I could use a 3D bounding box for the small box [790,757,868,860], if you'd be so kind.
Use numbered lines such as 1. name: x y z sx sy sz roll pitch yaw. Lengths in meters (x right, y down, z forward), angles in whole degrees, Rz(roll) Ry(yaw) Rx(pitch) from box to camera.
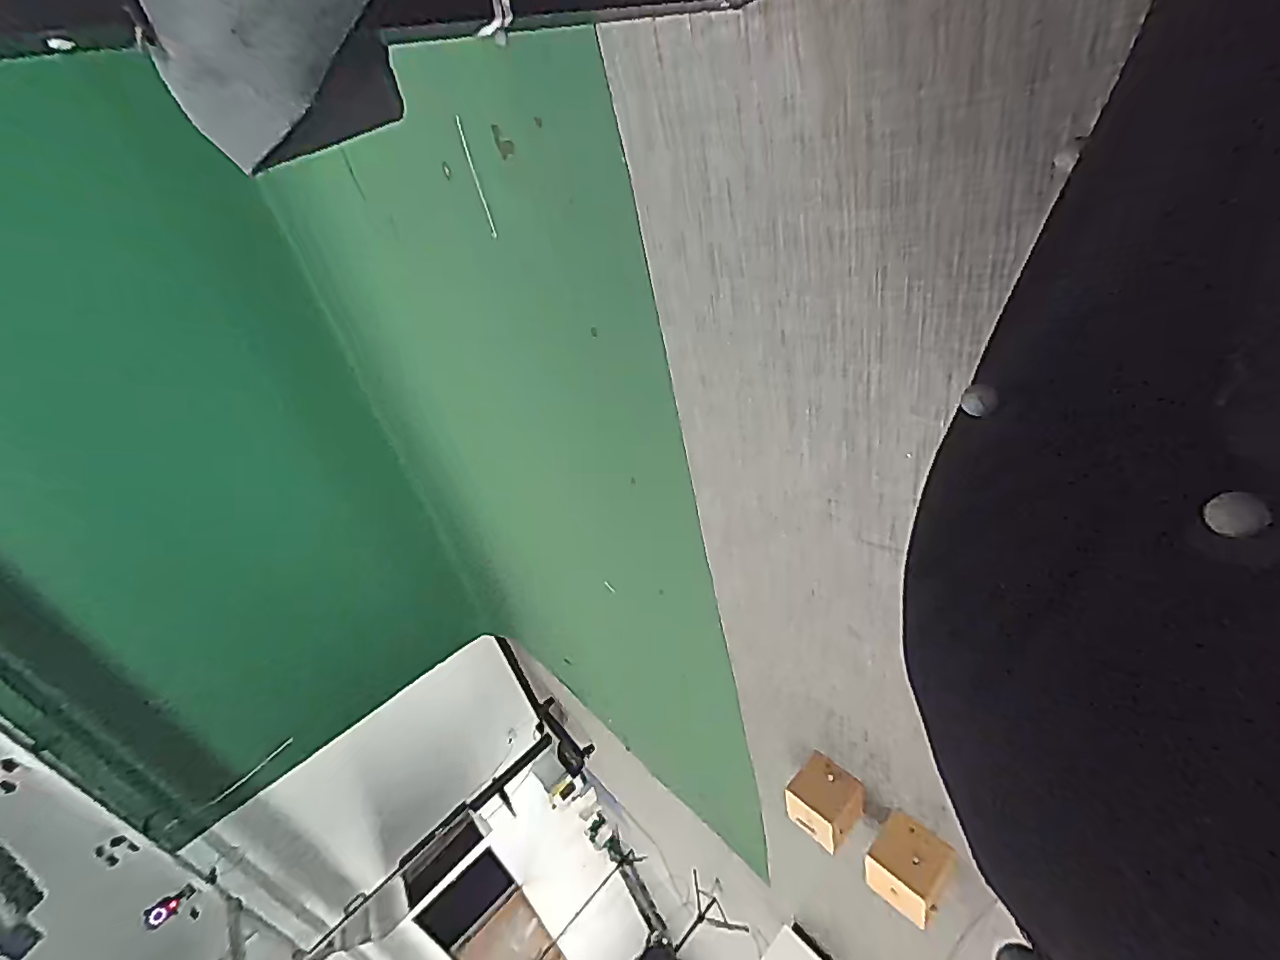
1. small box: 0.588 1.011 1.675 0.168 0.176 0.179 22 135 46

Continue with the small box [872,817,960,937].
1. small box: 0.760 1.084 1.490 0.168 0.176 0.179 21 135 47
